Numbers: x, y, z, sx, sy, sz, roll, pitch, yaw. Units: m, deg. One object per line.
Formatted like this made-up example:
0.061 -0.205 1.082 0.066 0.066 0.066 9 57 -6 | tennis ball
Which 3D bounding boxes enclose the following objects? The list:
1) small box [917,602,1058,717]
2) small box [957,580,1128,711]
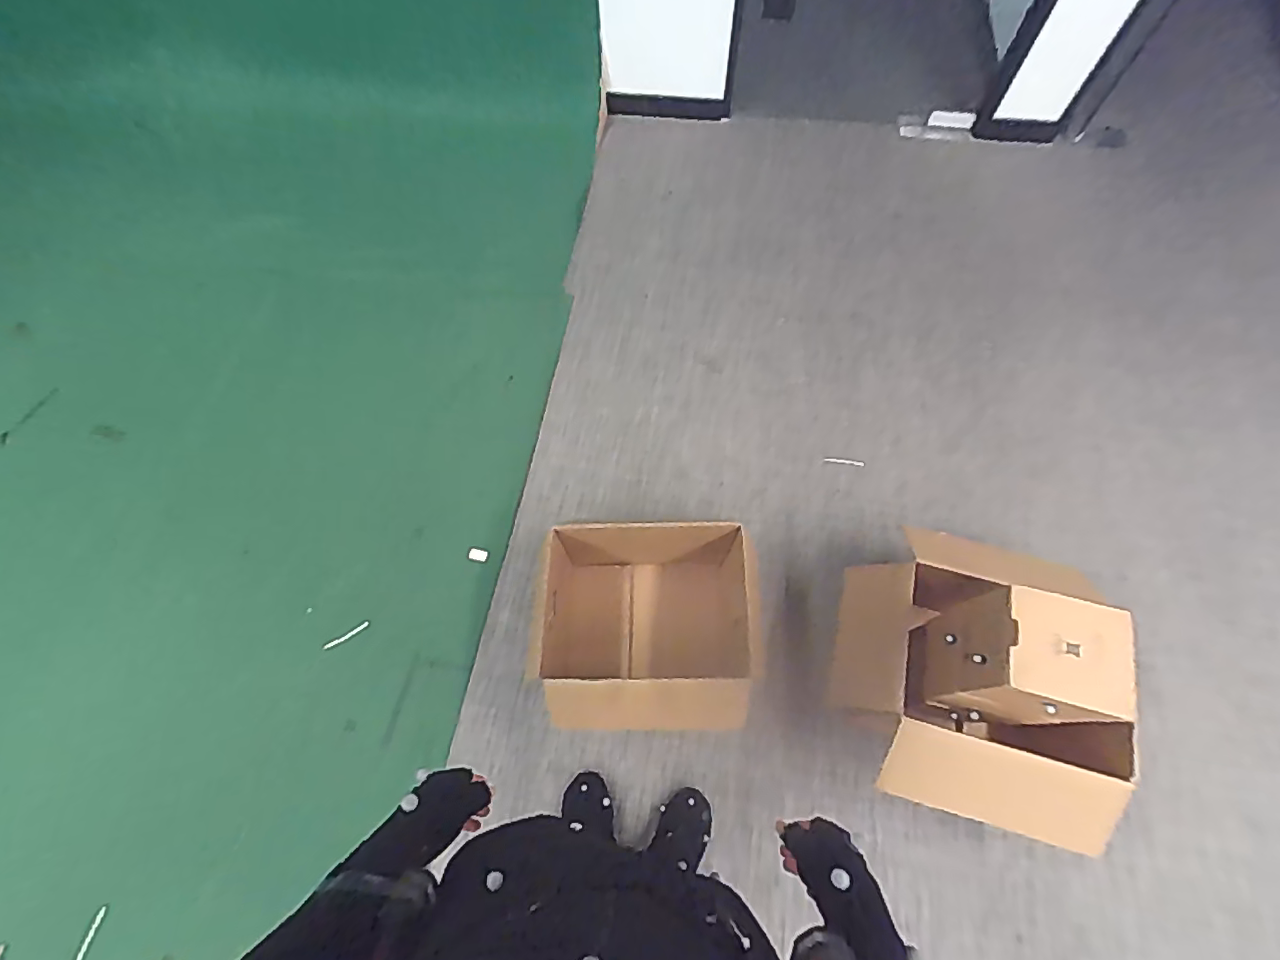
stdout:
0.674 0.357 1.062 0.179 0.176 0.168 13 66 9 | small box
0.666 0.286 0.917 0.179 0.176 0.168 13 69 9 | small box
